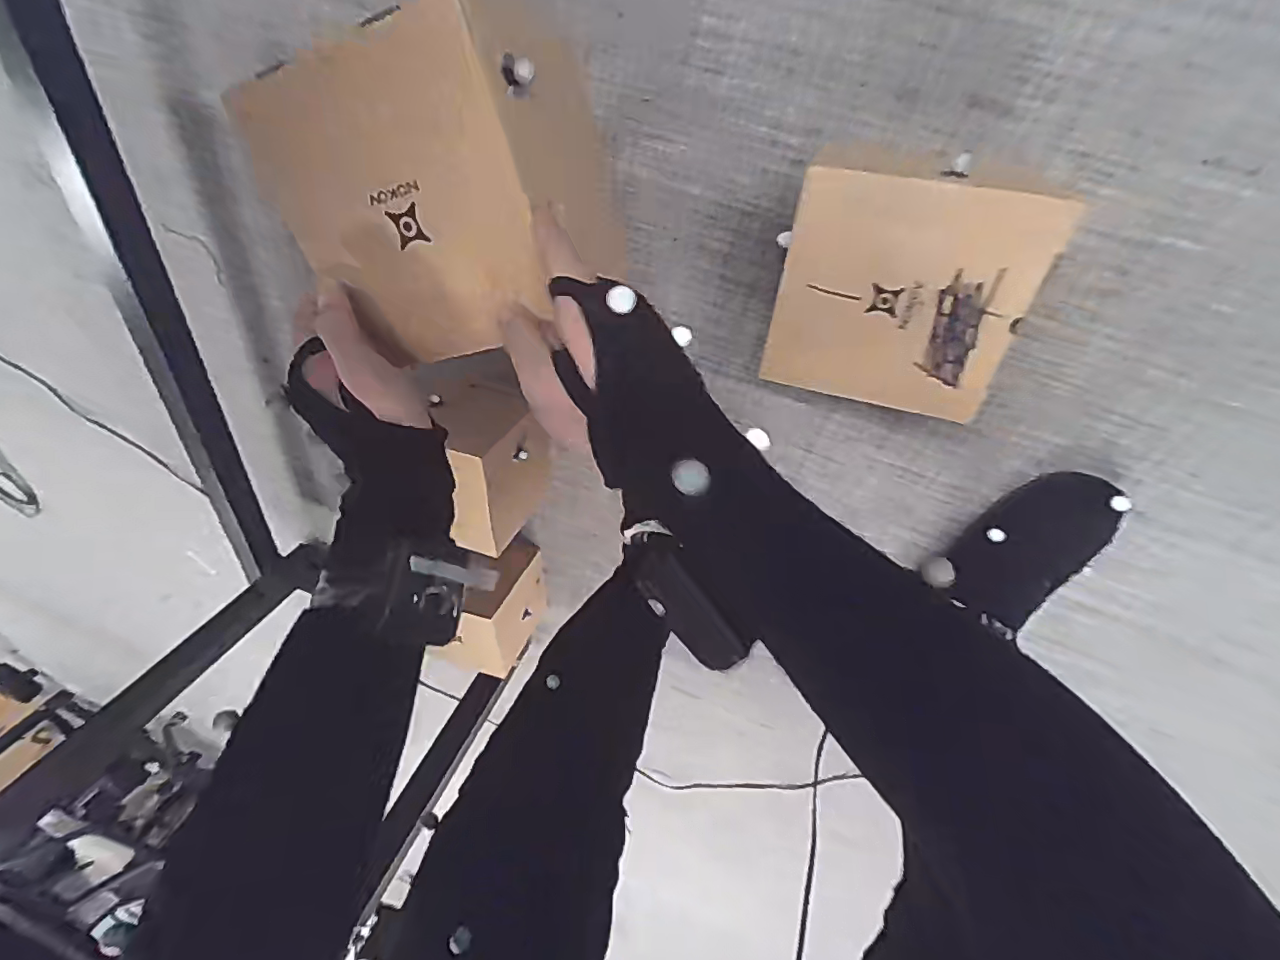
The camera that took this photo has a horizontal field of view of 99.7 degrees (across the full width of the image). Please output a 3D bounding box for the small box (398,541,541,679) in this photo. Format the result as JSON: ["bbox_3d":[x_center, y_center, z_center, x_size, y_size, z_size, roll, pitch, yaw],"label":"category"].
[{"bbox_3d":[-0.286,0.213,0.957,0.179,0.176,0.168,14,128,14],"label":"small box"}]

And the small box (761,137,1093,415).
[{"bbox_3d":[0.218,-0.182,0.460,0.179,0.176,0.168,16,129,12],"label":"small box"}]

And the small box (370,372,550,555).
[{"bbox_3d":[-0.237,-0.031,0.760,0.168,0.176,0.179,16,129,13],"label":"small box"}]
